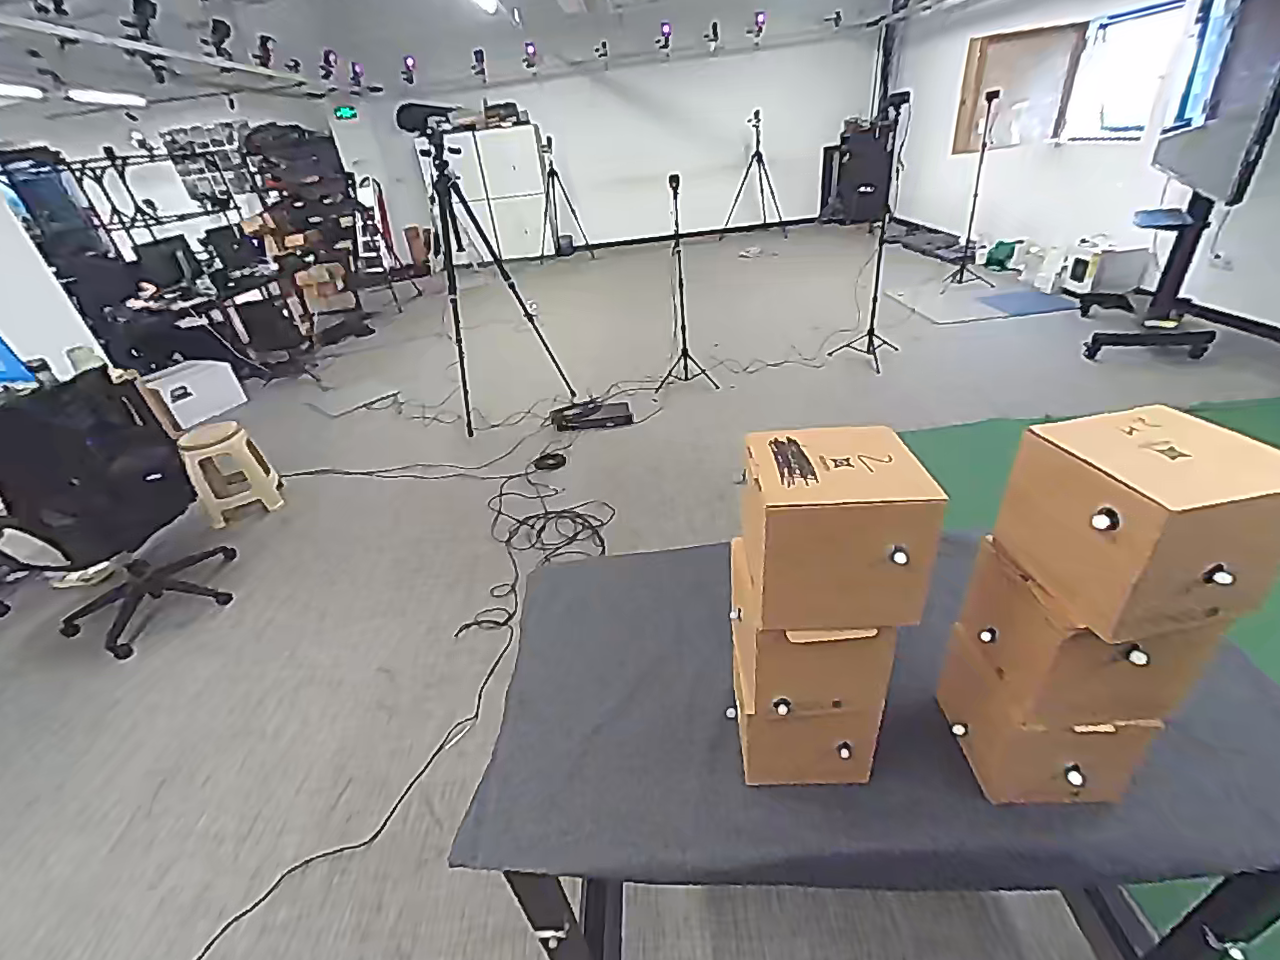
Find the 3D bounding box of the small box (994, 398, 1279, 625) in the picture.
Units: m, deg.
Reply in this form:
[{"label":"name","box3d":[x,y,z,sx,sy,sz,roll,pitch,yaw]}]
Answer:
[{"label":"small box","box3d":[0.521,0.034,0.573,0.168,0.176,0.179,-10,31,-3]}]

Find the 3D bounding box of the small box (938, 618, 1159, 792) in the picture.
[{"label":"small box","box3d":[0.543,0.310,0.751,0.168,0.176,0.179,-5,32,6]}]

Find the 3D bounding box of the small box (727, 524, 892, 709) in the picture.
[{"label":"small box","box3d":[0.213,0.183,0.719,0.168,0.176,0.179,-6,30,2]}]

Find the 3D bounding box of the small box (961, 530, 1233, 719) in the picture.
[{"label":"small box","box3d":[0.533,0.171,0.666,0.179,0.176,0.168,-6,31,4]}]

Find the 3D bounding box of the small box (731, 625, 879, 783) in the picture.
[{"label":"small box","box3d":[0.232,0.323,0.803,0.179,0.176,0.168,-6,30,5]}]
